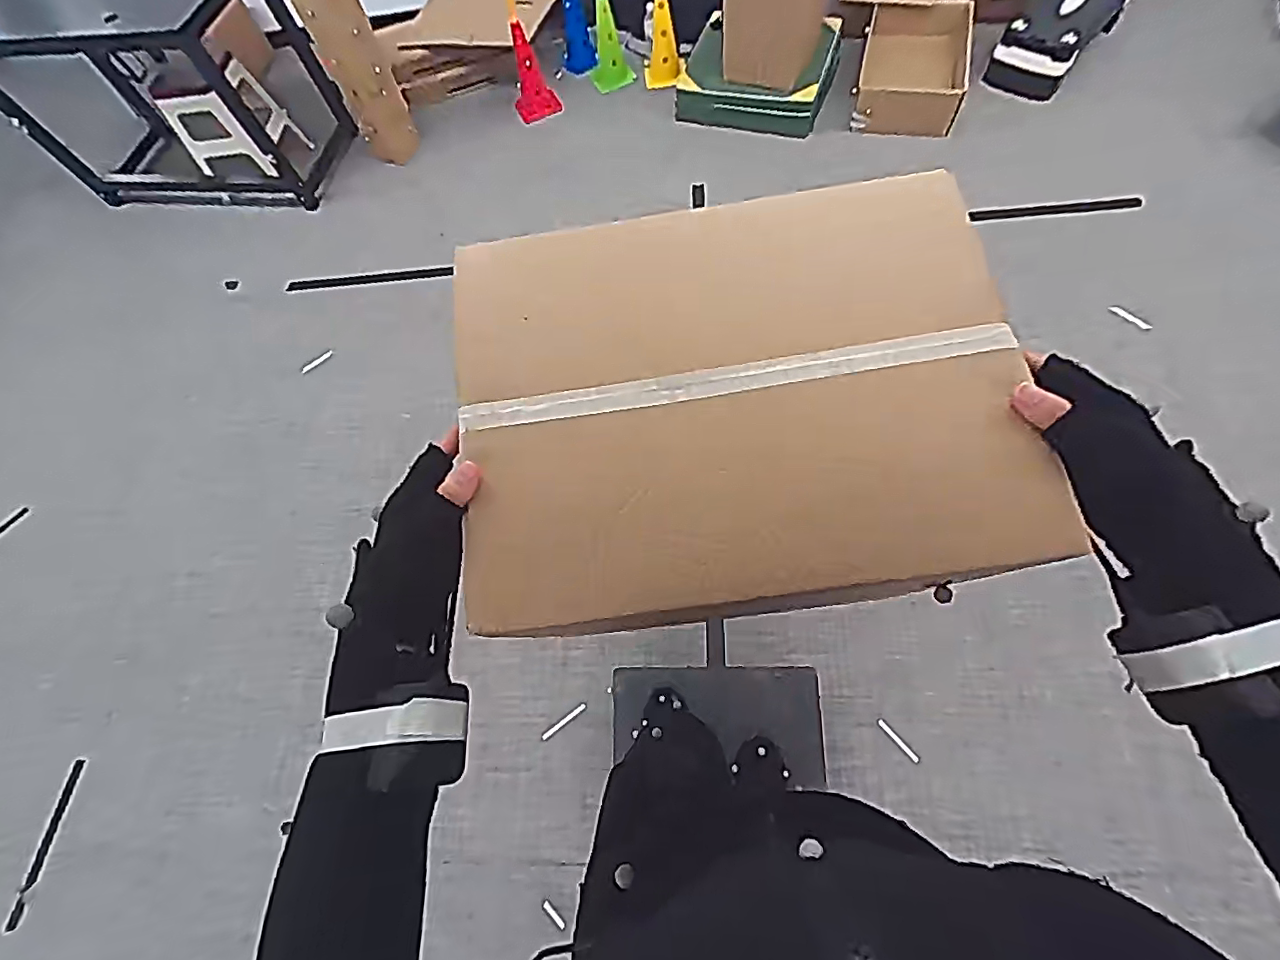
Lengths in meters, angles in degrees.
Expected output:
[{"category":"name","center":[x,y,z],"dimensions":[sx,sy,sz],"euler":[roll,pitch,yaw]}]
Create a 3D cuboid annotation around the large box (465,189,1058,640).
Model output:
[{"category":"large box","center":[0.080,-0.025,0.552],"dimensions":[0.408,0.320,0.320],"euler":[-9,73,3]}]
